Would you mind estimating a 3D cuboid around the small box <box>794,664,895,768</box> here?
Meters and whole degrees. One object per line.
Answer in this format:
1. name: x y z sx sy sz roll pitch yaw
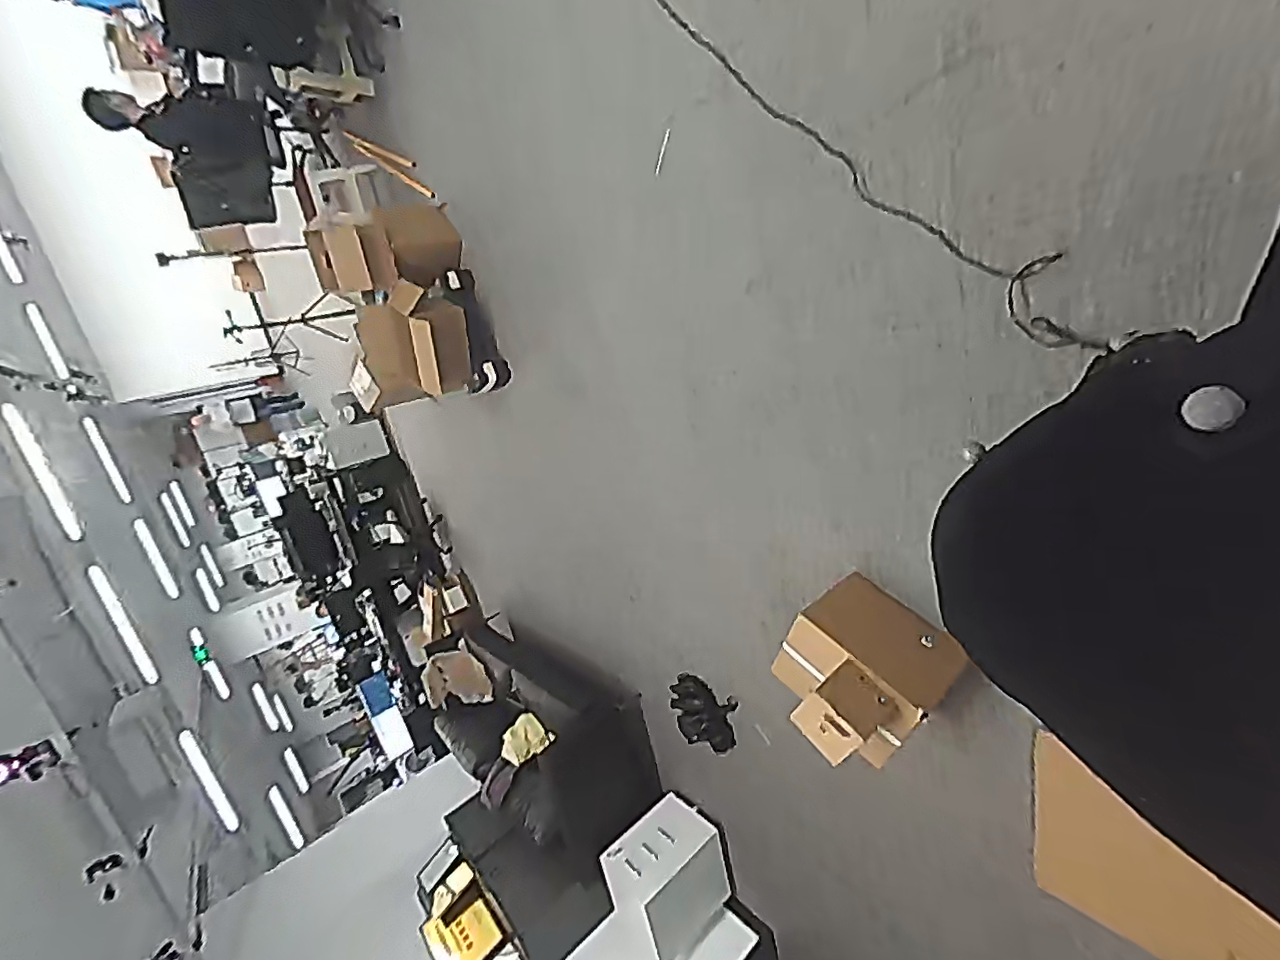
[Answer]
1. small box: 0.565 0.641 1.482 0.168 0.176 0.179 45 140 29
